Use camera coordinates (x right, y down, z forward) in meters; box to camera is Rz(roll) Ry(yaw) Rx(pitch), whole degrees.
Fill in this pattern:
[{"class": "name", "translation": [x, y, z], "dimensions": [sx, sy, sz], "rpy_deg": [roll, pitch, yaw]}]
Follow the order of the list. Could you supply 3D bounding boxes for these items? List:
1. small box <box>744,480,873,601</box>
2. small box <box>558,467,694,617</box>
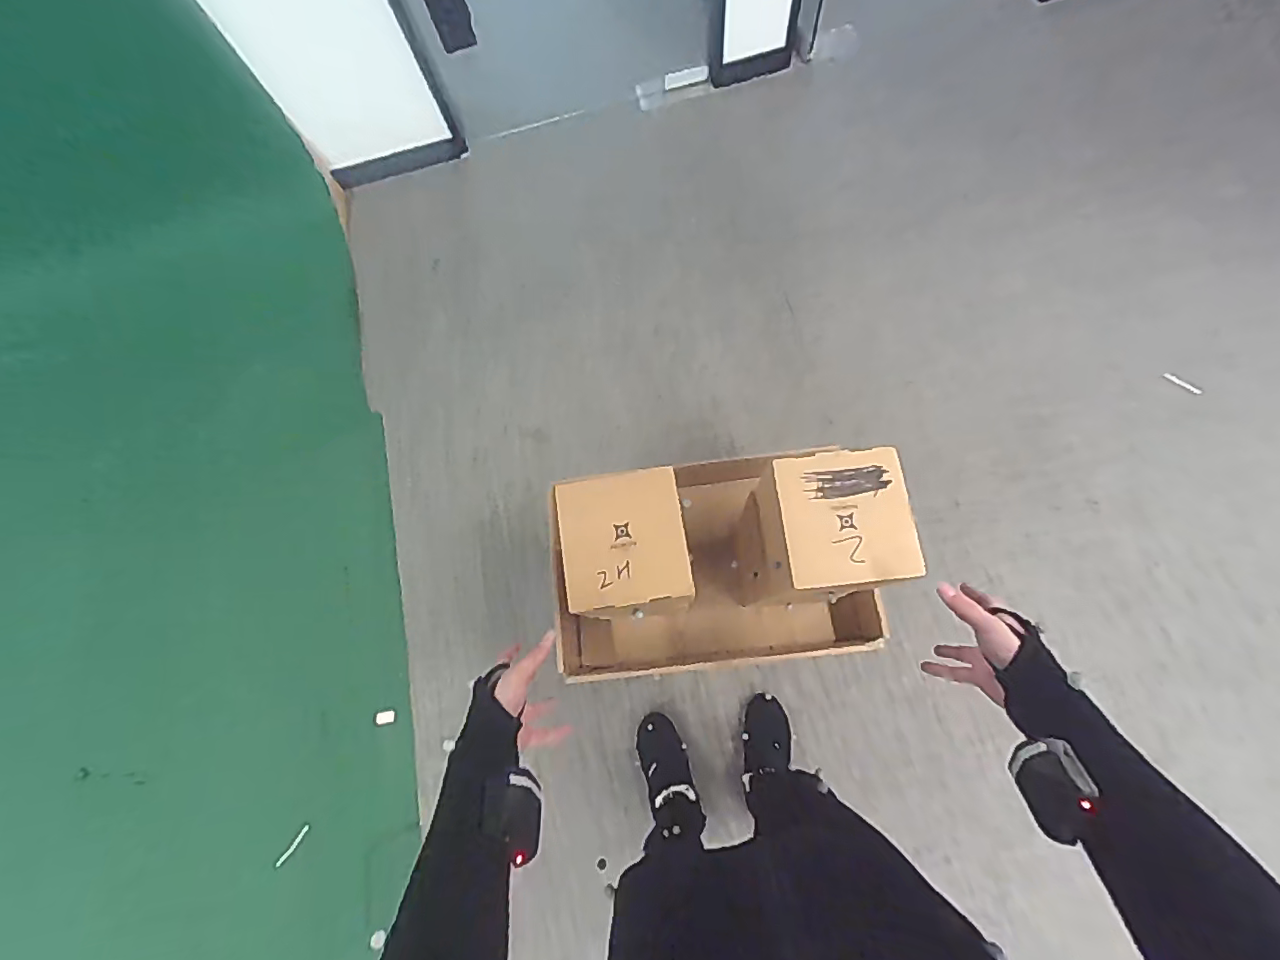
[{"class": "small box", "translation": [0.277, 0.112, 0.928], "dimensions": [0.168, 0.176, 0.179], "rpy_deg": [-6, 72, 3]}, {"class": "small box", "translation": [-0.017, 0.098, 0.792], "dimensions": [0.168, 0.176, 0.179], "rpy_deg": [-10, 73, 3]}]
